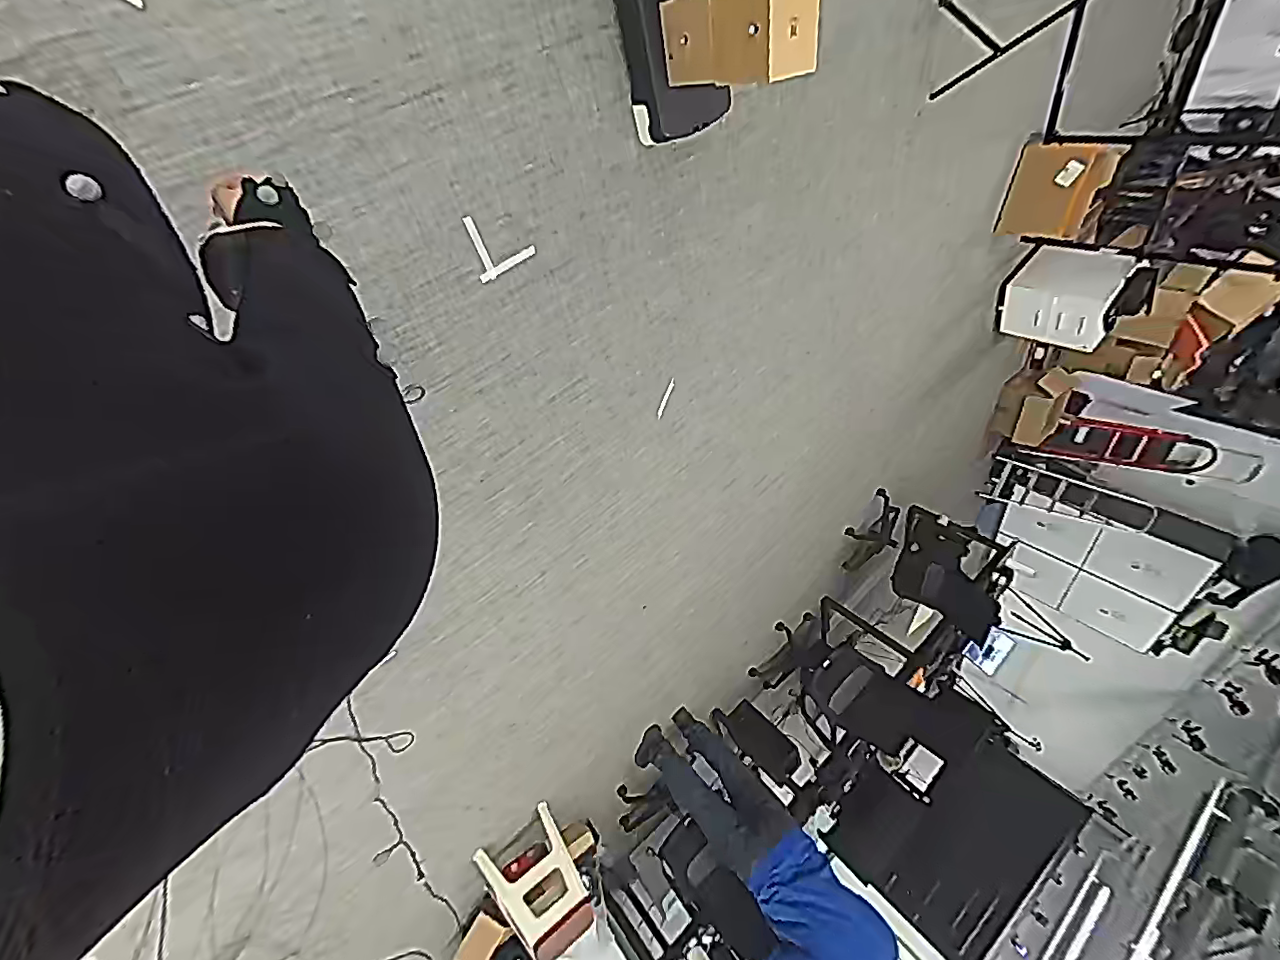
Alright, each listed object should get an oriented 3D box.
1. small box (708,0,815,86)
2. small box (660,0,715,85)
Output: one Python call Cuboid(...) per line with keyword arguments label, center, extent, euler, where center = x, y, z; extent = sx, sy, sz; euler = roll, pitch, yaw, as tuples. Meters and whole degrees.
Cuboid(label="small box", center=(0.270, -1.004, 1.218), extent=(0.168, 0.176, 0.179), euler=(-32, 133, -25))
Cuboid(label="small box", center=(0.164, -1.081, 1.316), extent=(0.179, 0.176, 0.168), euler=(-35, 136, -24))
